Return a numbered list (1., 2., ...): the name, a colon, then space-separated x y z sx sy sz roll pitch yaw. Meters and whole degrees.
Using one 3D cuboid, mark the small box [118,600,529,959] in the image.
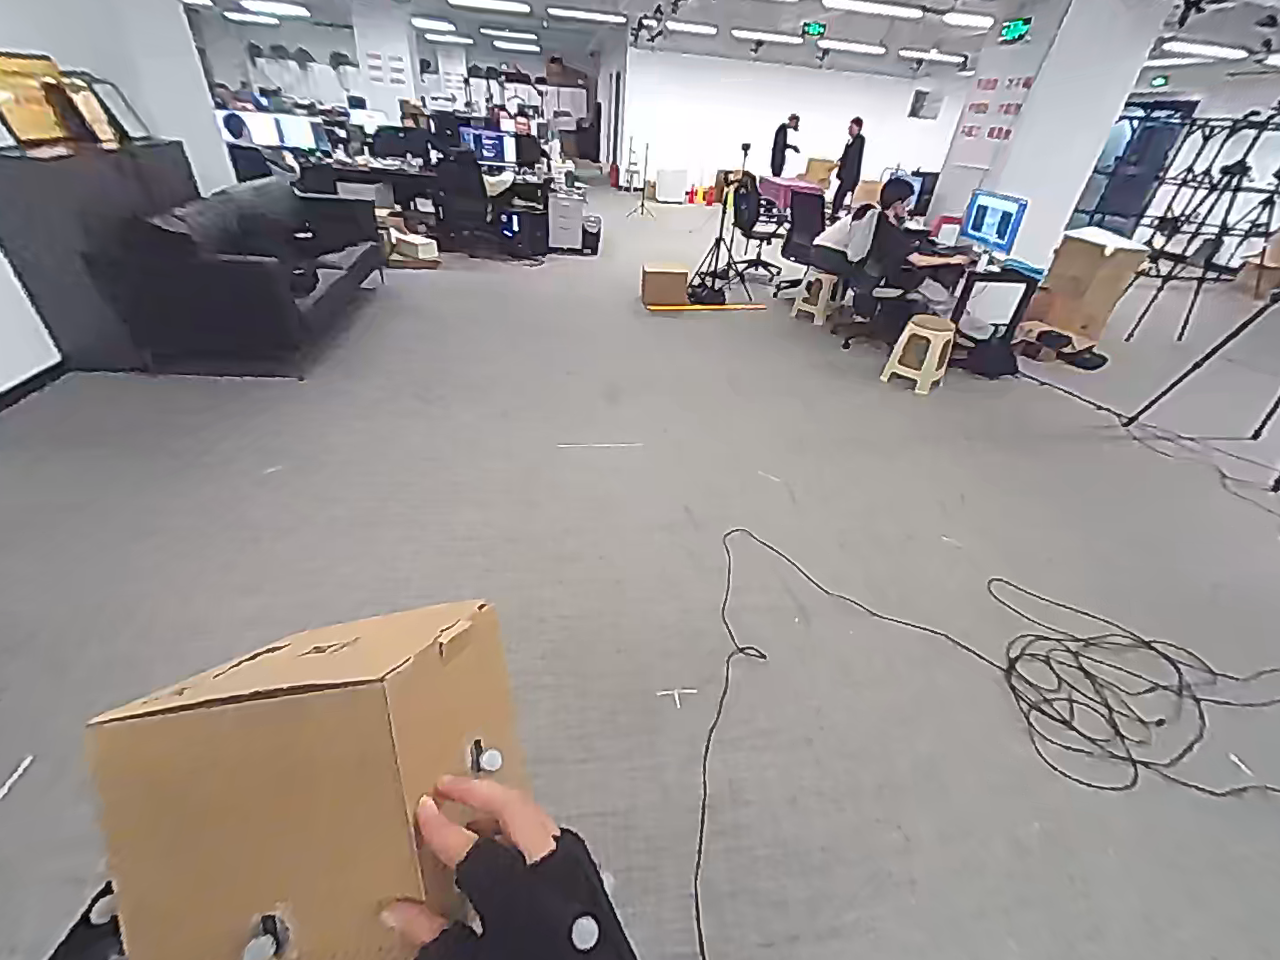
1. small box: -0.189 0.196 0.374 0.179 0.176 0.168 -10 -1 5
